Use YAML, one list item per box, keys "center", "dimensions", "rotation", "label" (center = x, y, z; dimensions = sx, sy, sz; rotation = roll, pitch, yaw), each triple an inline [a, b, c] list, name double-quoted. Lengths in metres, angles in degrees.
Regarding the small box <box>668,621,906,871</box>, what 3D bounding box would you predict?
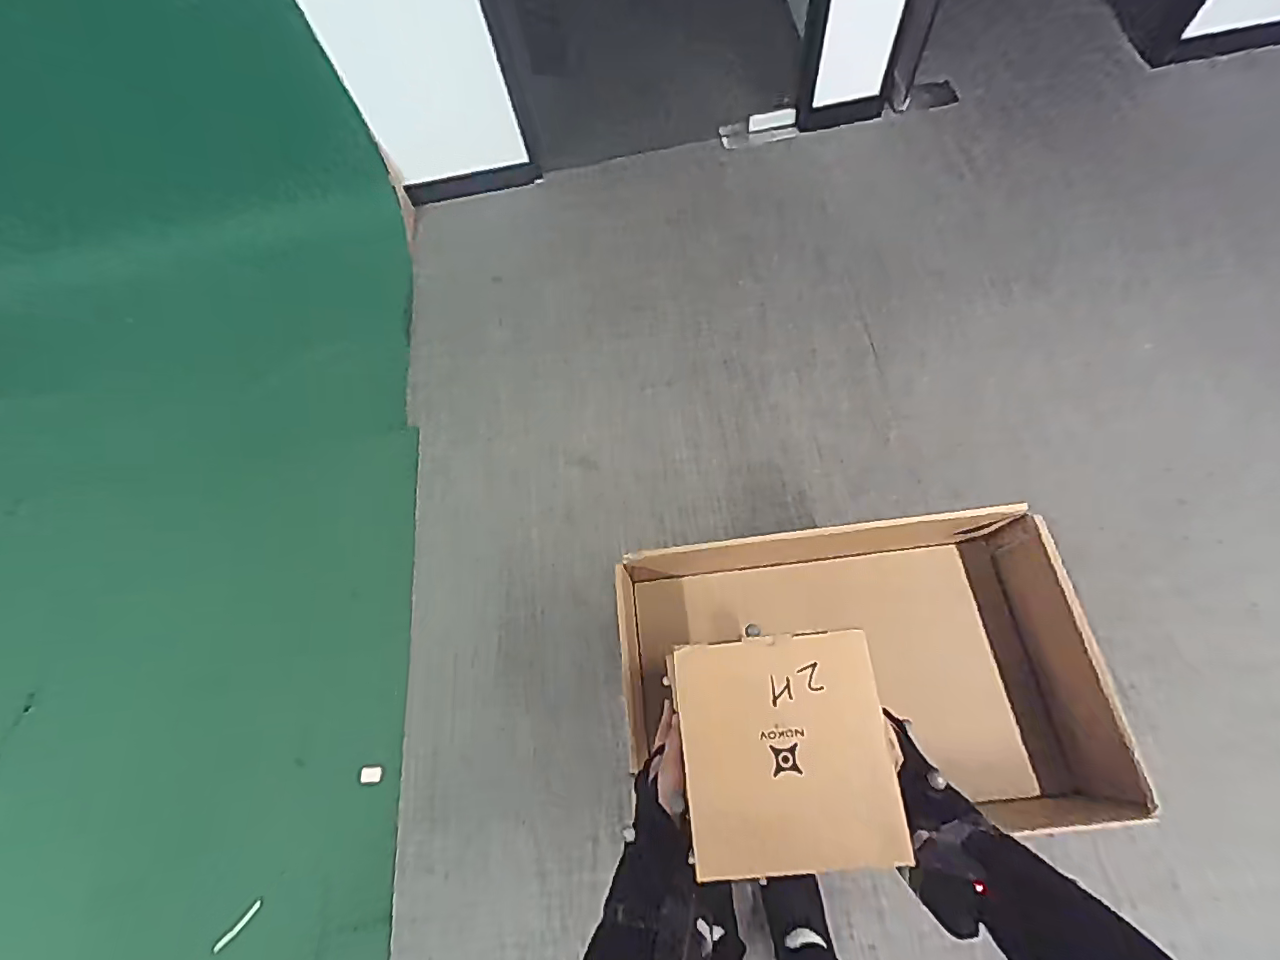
- center: [0.120, 0.234, 0.510]
  dimensions: [0.168, 0.176, 0.179]
  rotation: [-7, 70, 4]
  label: "small box"
